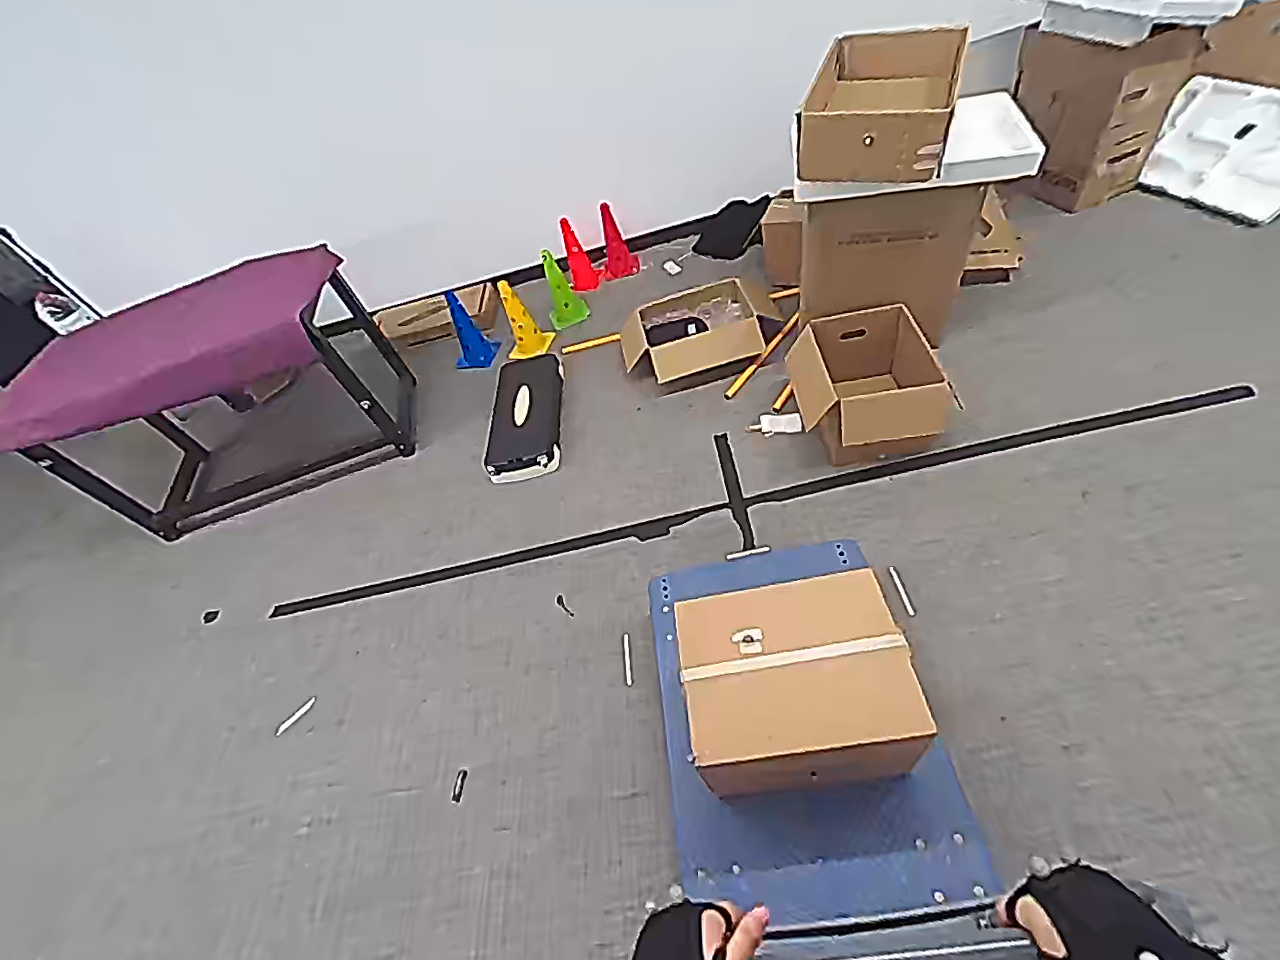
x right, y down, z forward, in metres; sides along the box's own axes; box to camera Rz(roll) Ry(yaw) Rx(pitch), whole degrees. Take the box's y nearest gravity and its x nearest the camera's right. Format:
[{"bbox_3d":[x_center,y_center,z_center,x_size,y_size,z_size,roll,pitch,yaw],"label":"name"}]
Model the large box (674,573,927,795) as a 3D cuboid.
[{"bbox_3d":[0.313,0.437,1.130,0.408,0.320,0.320,-13,48,8],"label":"large box"}]
